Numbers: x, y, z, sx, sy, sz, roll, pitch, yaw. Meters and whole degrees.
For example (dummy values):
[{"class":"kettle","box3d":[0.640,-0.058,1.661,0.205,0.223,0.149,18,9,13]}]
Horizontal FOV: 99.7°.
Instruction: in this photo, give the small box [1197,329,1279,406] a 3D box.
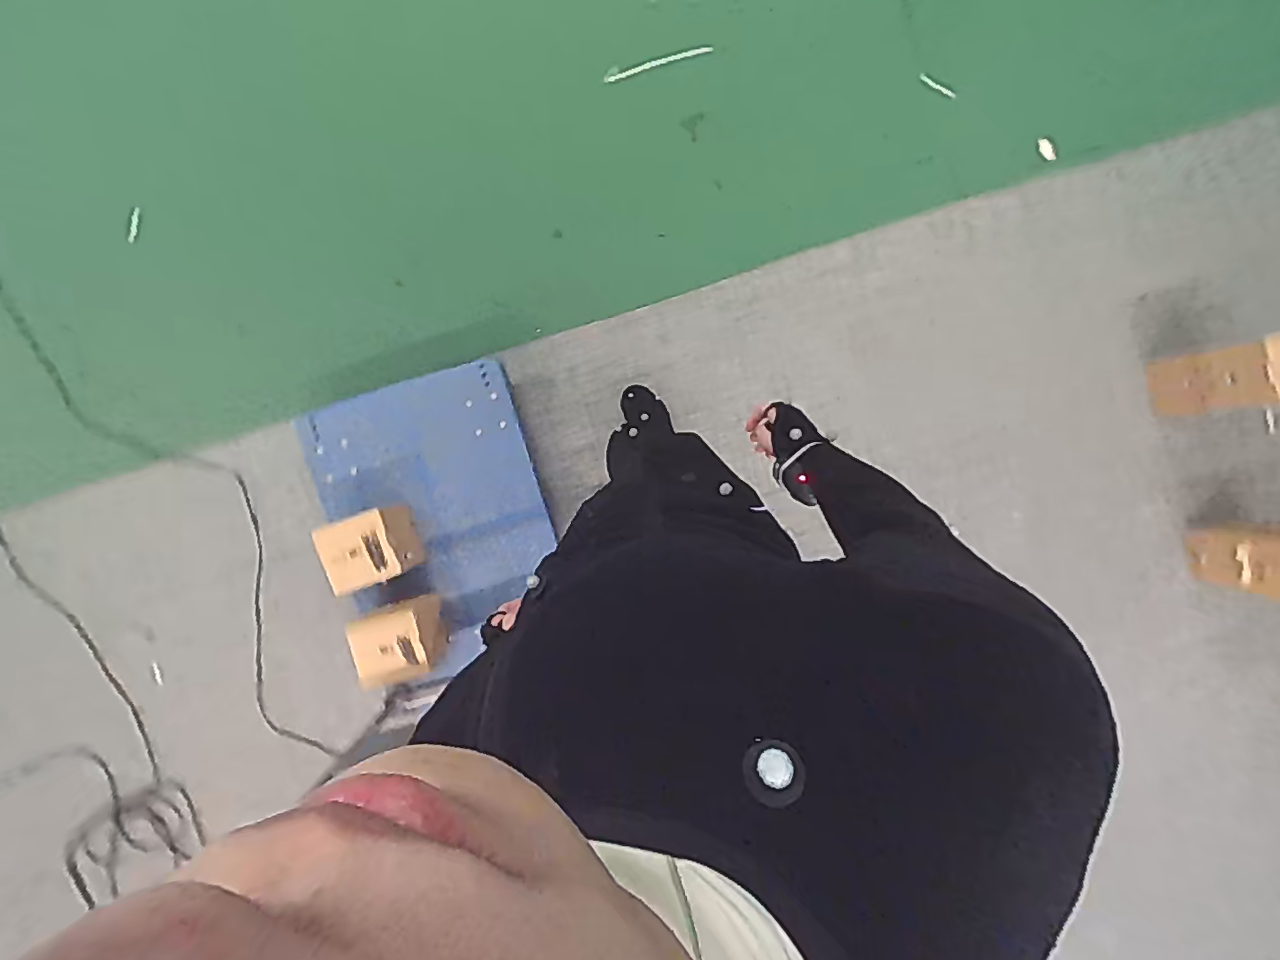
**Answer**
[{"class":"small box","box3d":[1.584,-0.290,1.376,0.179,0.176,0.168,-13,93,2]}]

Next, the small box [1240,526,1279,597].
[{"class":"small box","box3d":[1.736,0.211,1.399,0.179,0.176,0.168,-12,93,1]}]

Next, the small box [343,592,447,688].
[{"class":"small box","box3d":[-0.611,0.399,1.380,0.179,0.176,0.168,-15,92,1]}]

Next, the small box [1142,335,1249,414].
[{"class":"small box","box3d":[1.589,-0.293,1.540,0.168,0.176,0.179,-12,93,1]}]

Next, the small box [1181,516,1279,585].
[{"class":"small box","box3d":[1.732,0.197,1.559,0.179,0.176,0.168,-6,90,1]}]
